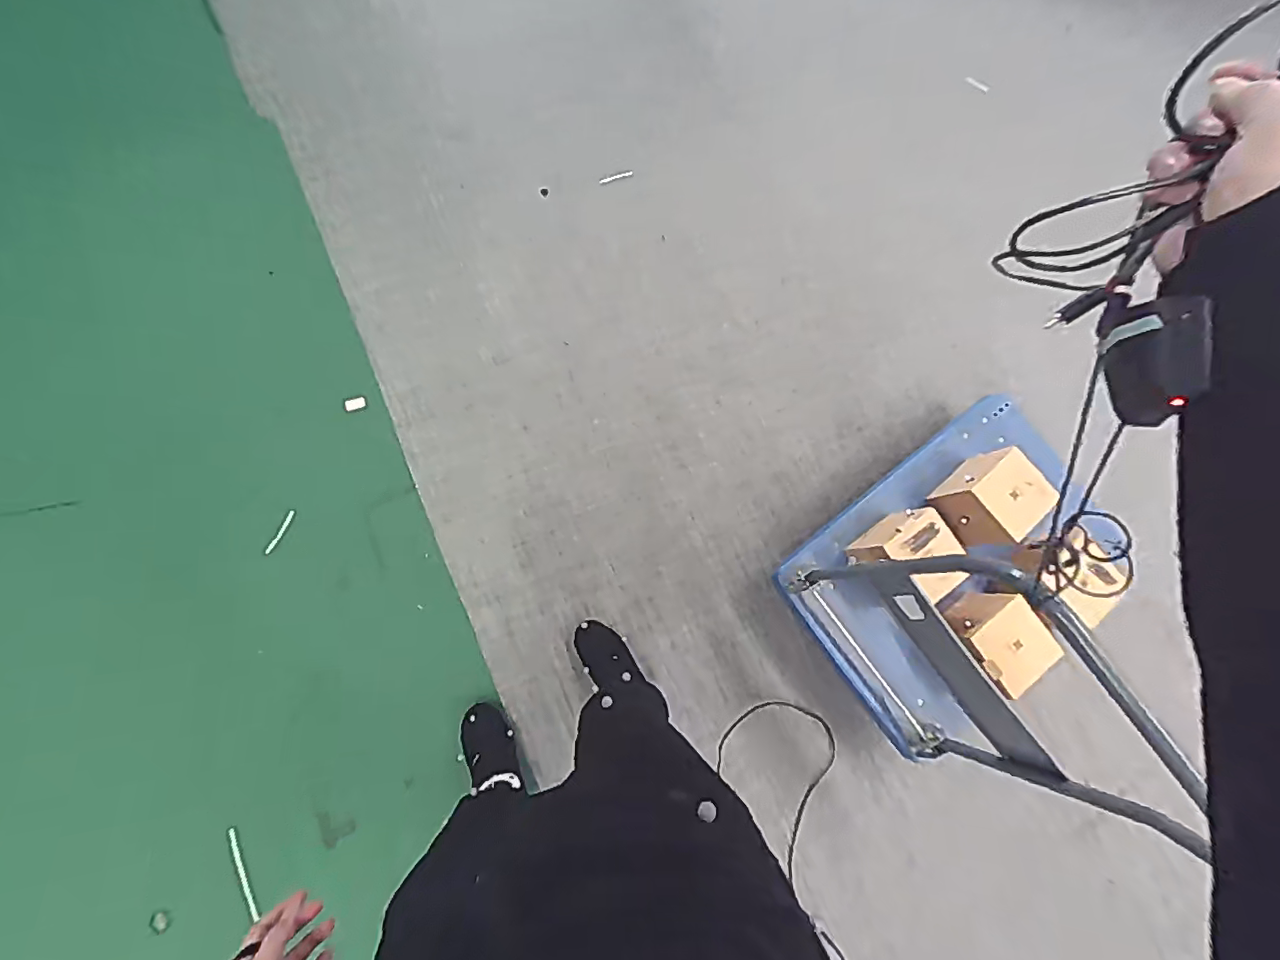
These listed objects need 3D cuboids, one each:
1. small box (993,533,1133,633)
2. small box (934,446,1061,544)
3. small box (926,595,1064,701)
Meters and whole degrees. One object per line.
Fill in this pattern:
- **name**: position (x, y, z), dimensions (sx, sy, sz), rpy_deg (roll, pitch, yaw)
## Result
- **small box**: position (1.026, 0.250, 1.328), dimensions (0.179, 0.176, 0.168), rpy_deg (-37, 85, -11)
- **small box**: position (0.875, 0.045, 1.348), dimensions (0.179, 0.176, 0.168), rpy_deg (-39, 87, -12)
- **small box**: position (0.829, 0.386, 1.279), dimensions (0.179, 0.176, 0.168), rpy_deg (-34, 85, -11)
